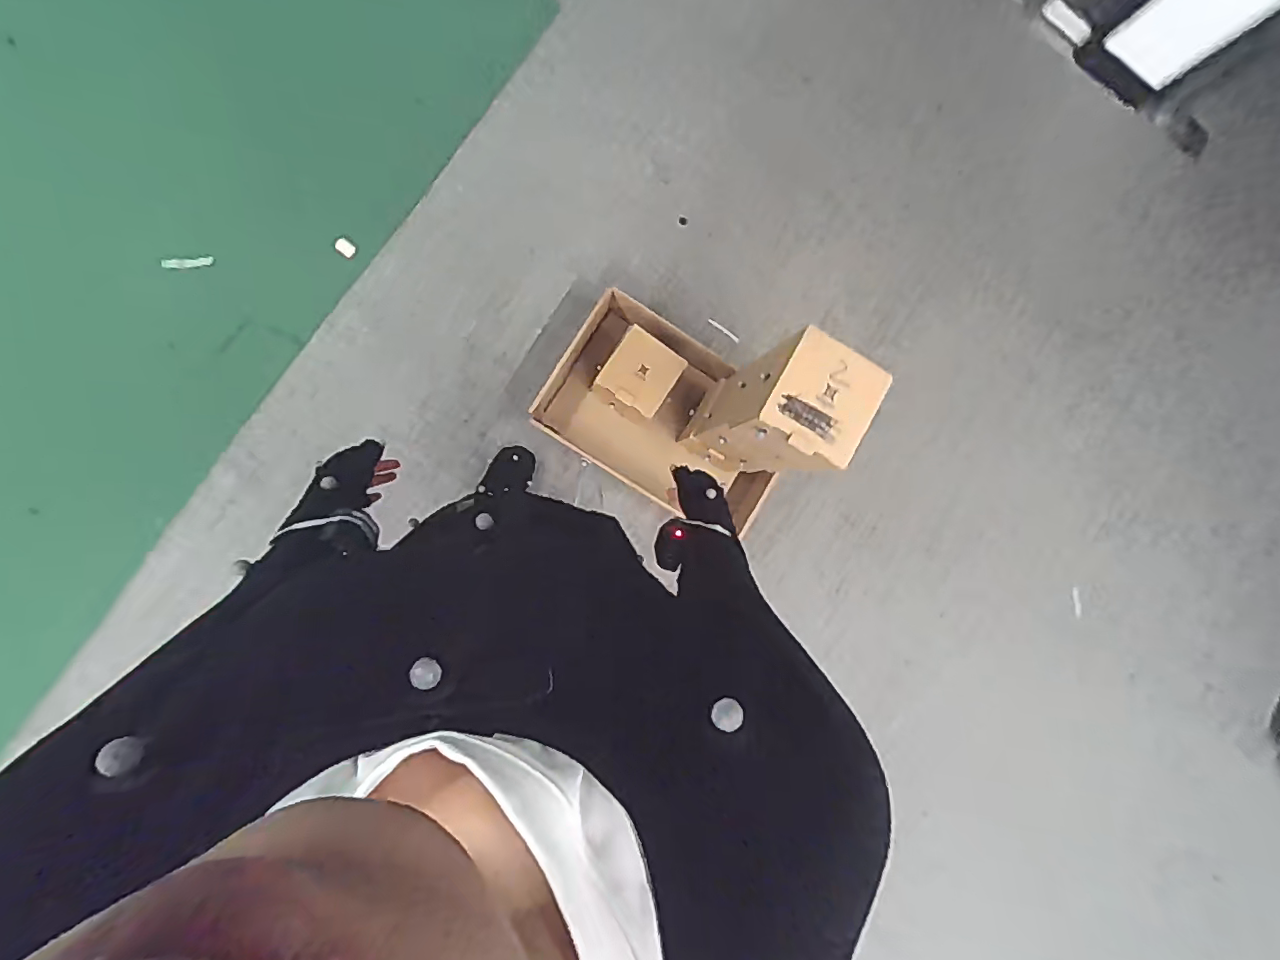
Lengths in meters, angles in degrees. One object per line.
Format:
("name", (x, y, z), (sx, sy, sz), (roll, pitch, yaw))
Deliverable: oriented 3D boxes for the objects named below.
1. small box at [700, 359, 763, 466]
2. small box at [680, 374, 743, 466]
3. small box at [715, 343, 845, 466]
("small box", (0.255, -0.144, 1.239), (0.168, 0.176, 0.179), (33, 85, -6))
("small box", (0.218, -0.147, 1.417), (0.168, 0.176, 0.179), (28, 85, -5))
("small box", (0.269, -0.141, 1.093), (0.168, 0.176, 0.179), (33, 85, -7))
